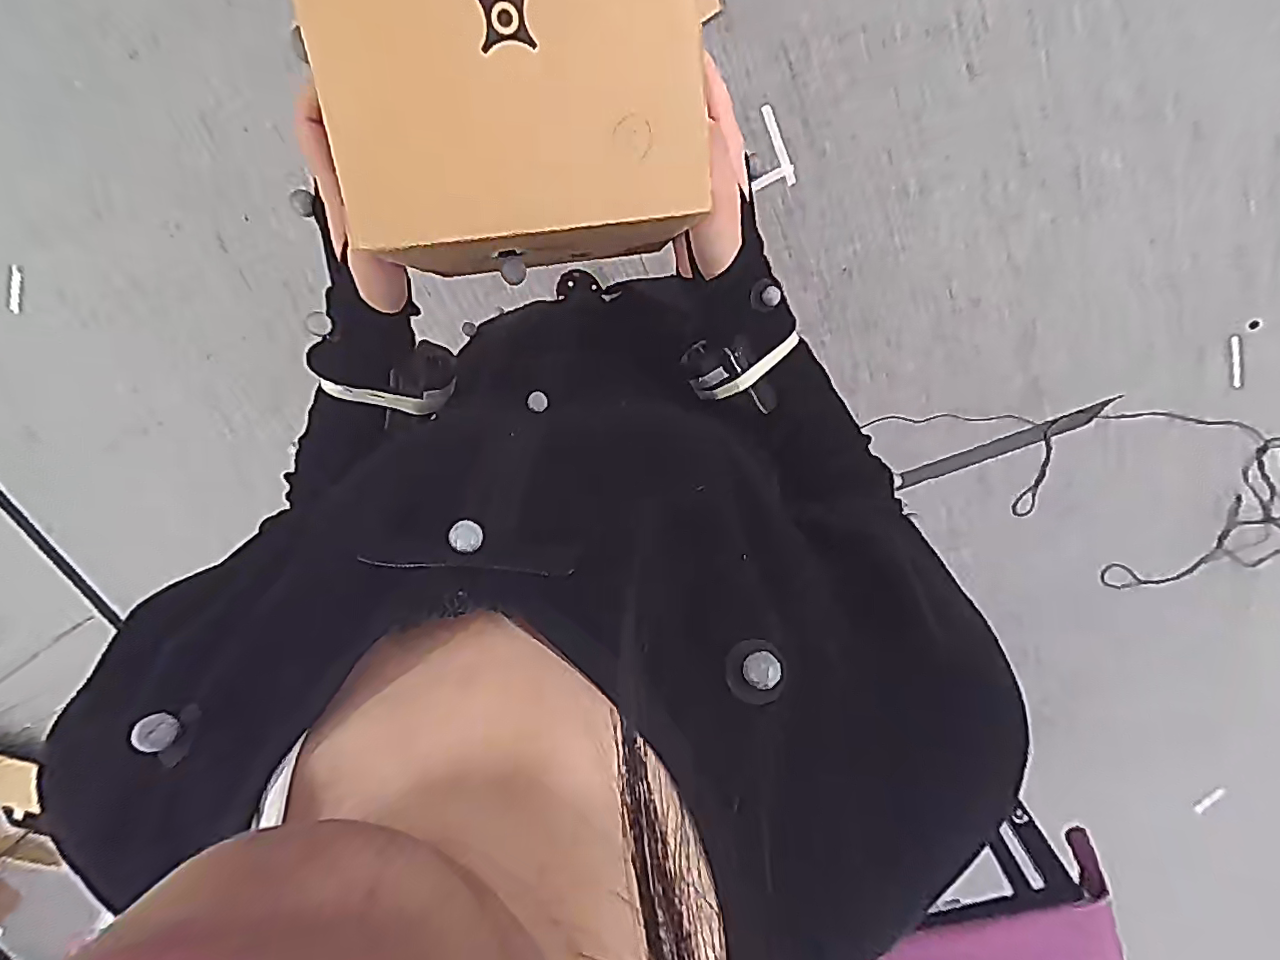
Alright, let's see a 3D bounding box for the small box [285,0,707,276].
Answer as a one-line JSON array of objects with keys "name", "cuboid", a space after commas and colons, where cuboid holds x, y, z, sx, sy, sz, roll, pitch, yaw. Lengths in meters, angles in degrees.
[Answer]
[{"name": "small box", "cuboid": [-0.065, -0.213, 0.297, 0.168, 0.176, 0.179, -9, 106, -3]}]
